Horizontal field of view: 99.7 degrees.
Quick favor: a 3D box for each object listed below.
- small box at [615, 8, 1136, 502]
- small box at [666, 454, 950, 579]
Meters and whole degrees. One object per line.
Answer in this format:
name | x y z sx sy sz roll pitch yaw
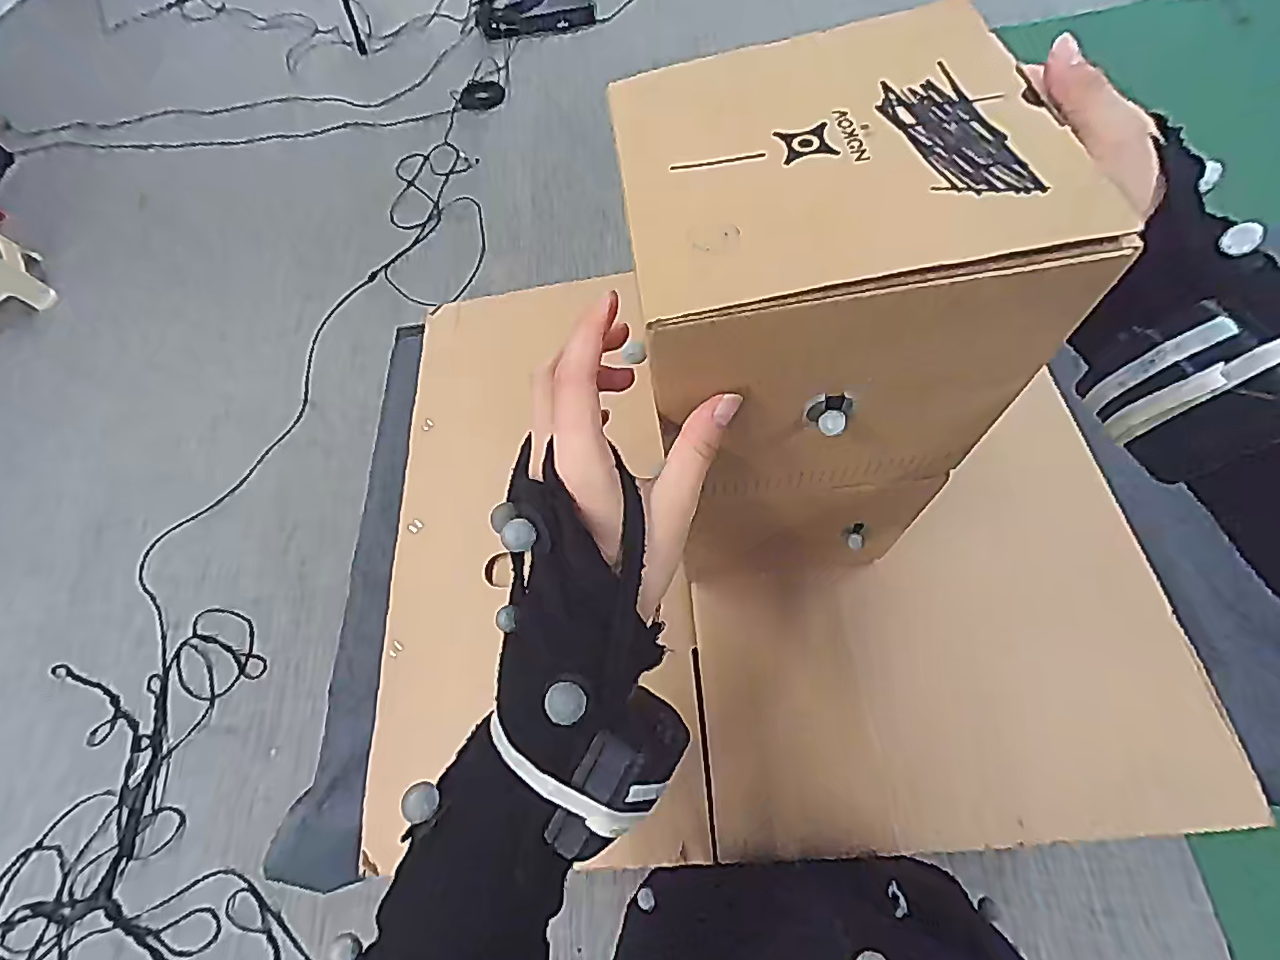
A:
small box | 0.090 -0.102 0.298 0.179 0.176 0.168 -9 62 5
small box | 0.110 -0.027 0.443 0.179 0.176 0.168 -8 62 5
